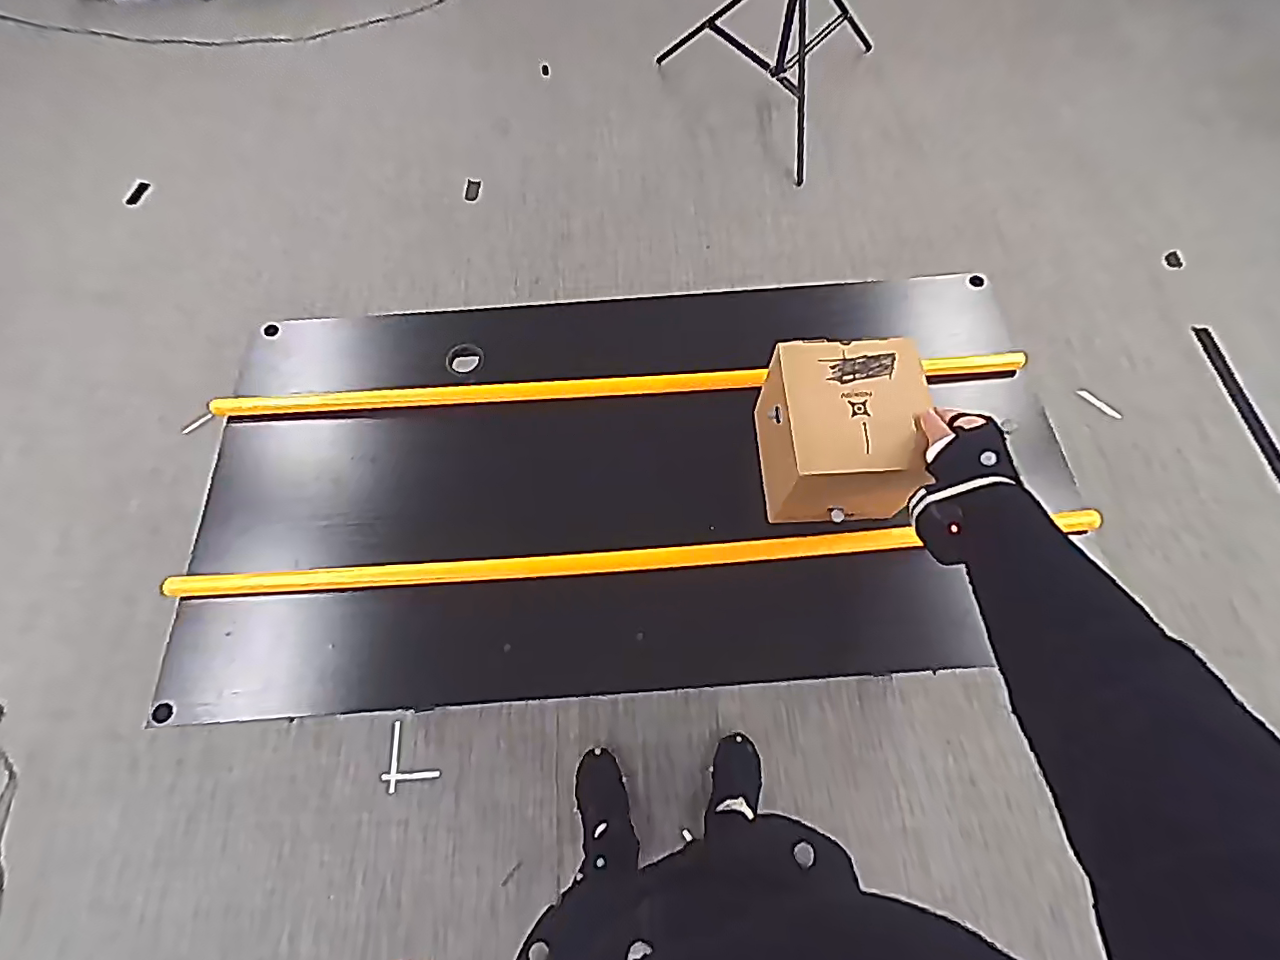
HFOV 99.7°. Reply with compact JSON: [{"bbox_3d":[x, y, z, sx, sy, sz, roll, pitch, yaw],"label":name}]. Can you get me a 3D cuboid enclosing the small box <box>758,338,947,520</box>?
[{"bbox_3d":[0.252,-0.059,0.692,0.168,0.176,0.179,-2,68,1],"label":"small box"}]
